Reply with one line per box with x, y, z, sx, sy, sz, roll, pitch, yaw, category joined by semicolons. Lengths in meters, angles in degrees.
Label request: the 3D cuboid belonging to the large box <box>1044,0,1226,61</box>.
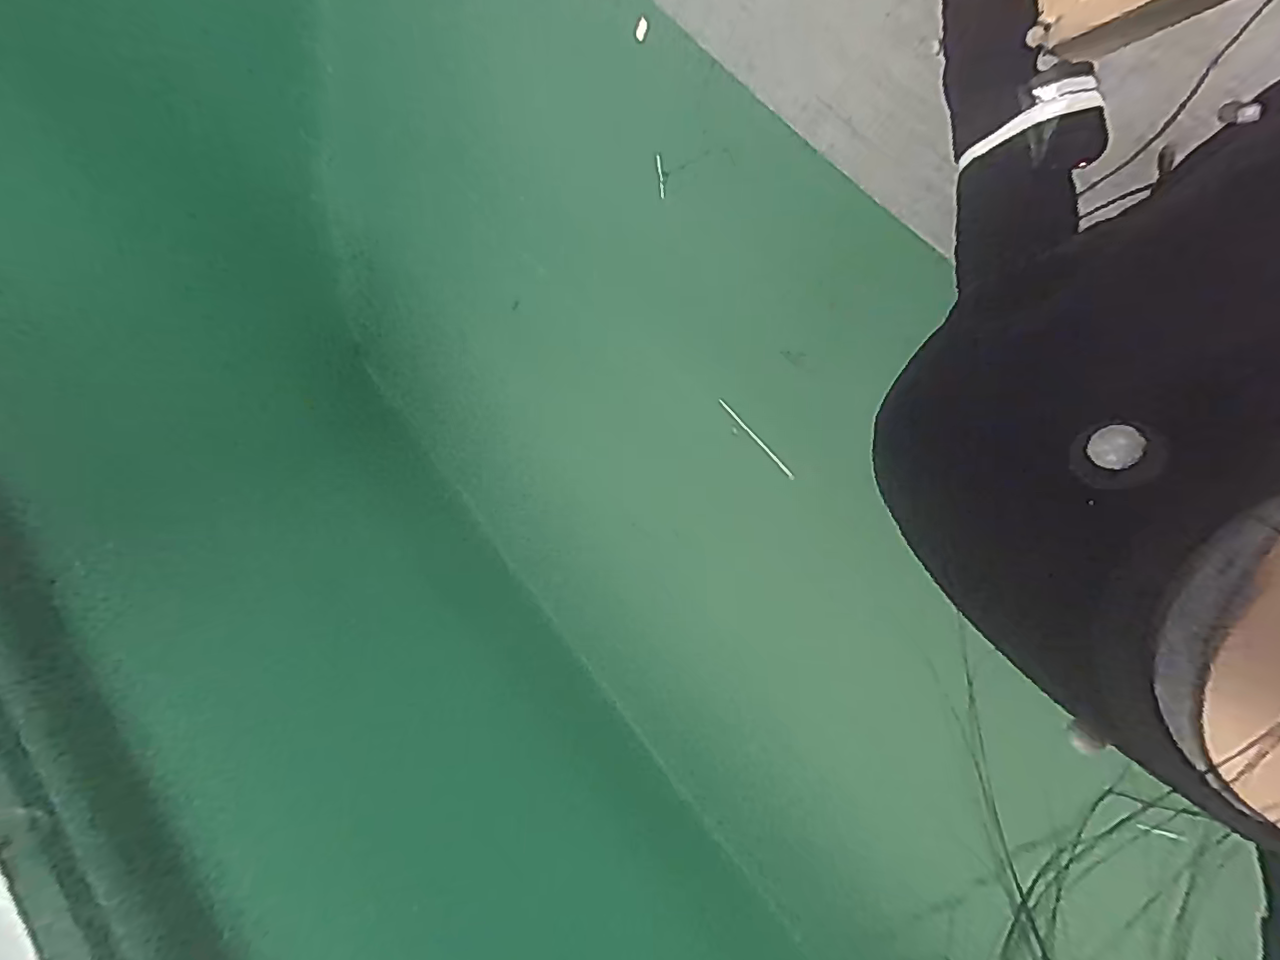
0.485;-0.529;0.312;0.408;0.320;0.320;-3;115;44;large box
